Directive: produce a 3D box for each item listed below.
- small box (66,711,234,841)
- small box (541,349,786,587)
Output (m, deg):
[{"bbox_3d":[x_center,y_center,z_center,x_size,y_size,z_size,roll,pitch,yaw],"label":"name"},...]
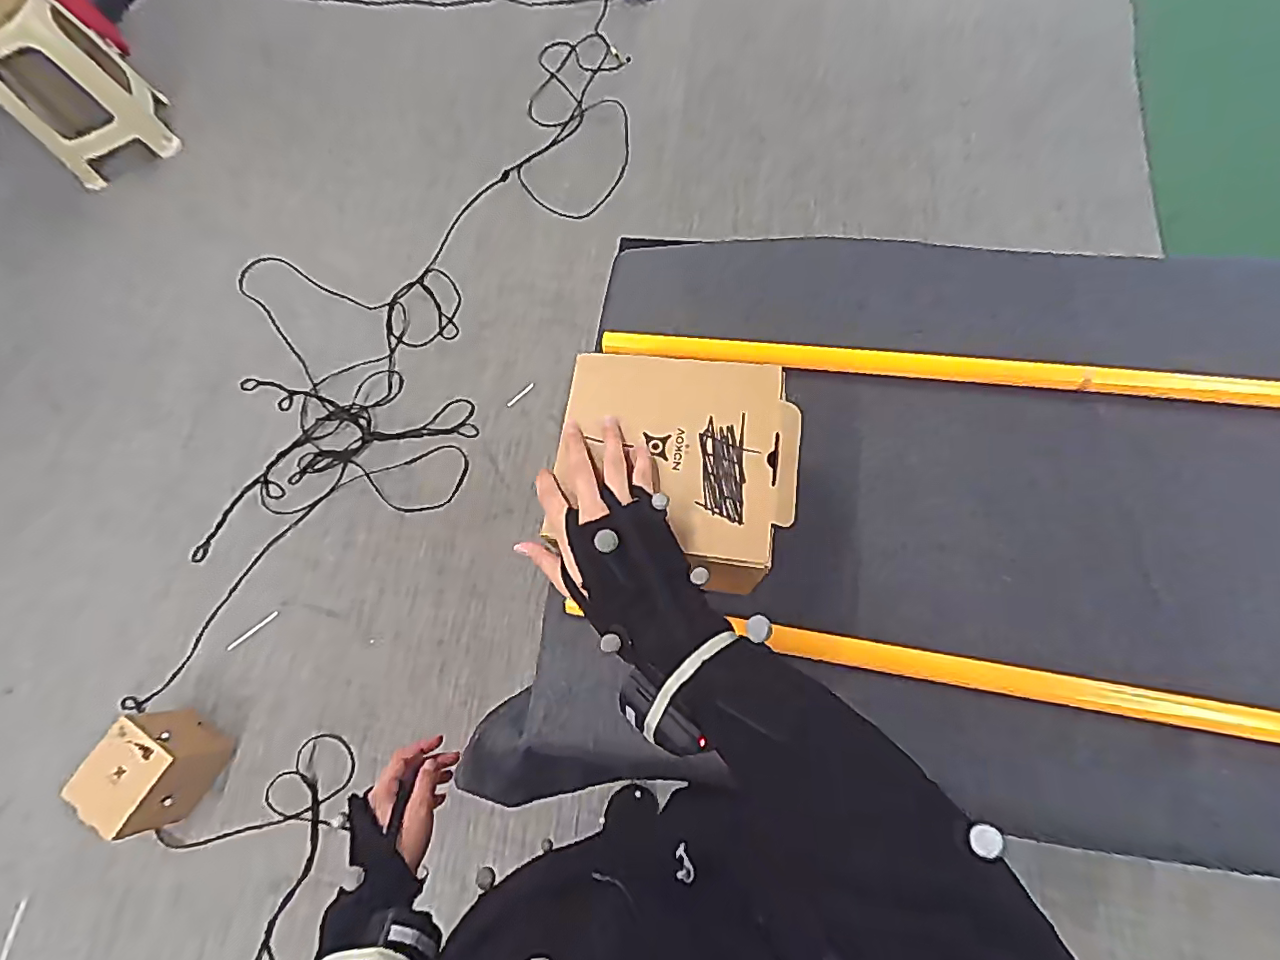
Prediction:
[{"bbox_3d":[-1.044,0.625,1.169,0.168,0.176,0.179,28,75,15],"label":"small box"},{"bbox_3d":[0.029,0.000,0.503,0.179,0.176,0.168,6,71,9],"label":"small box"}]
